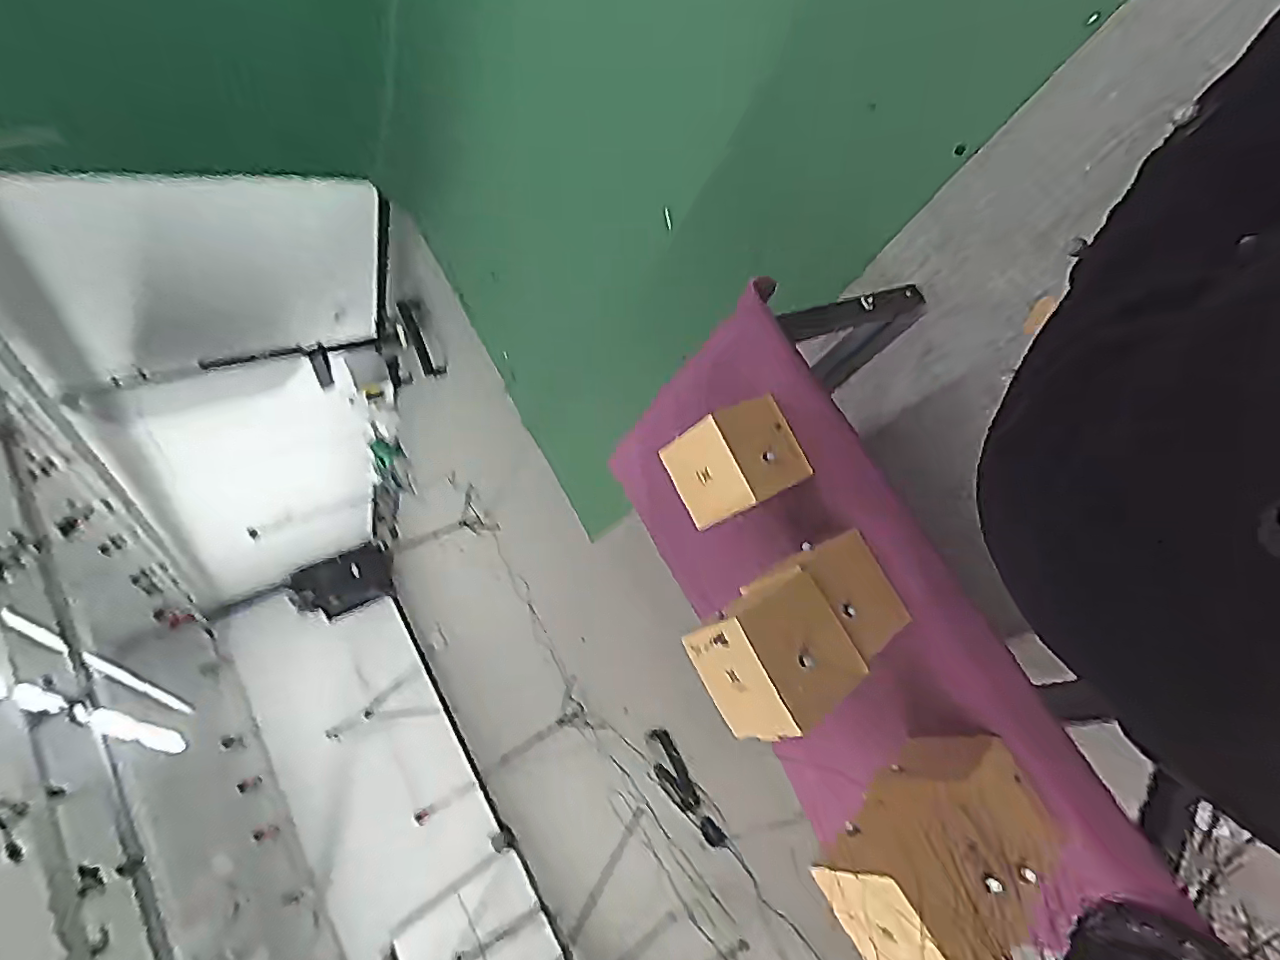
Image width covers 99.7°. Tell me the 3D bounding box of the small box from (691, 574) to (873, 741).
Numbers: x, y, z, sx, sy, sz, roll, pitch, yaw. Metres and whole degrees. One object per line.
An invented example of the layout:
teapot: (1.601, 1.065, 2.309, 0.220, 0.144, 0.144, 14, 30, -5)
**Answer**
small box: (0.218, 0.272, 0.832, 0.179, 0.176, 0.168, 59, 145, 11)

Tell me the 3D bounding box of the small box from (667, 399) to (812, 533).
small box: (0.188, -0.028, 0.996, 0.168, 0.176, 0.179, 62, 145, 7)

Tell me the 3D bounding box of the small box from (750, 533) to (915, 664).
small box: (0.333, 0.217, 0.937, 0.179, 0.176, 0.168, 61, 146, 10)

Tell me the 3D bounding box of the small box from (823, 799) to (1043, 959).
small box: (0.402, 0.573, 0.752, 0.168, 0.176, 0.179, 57, 145, 15)
